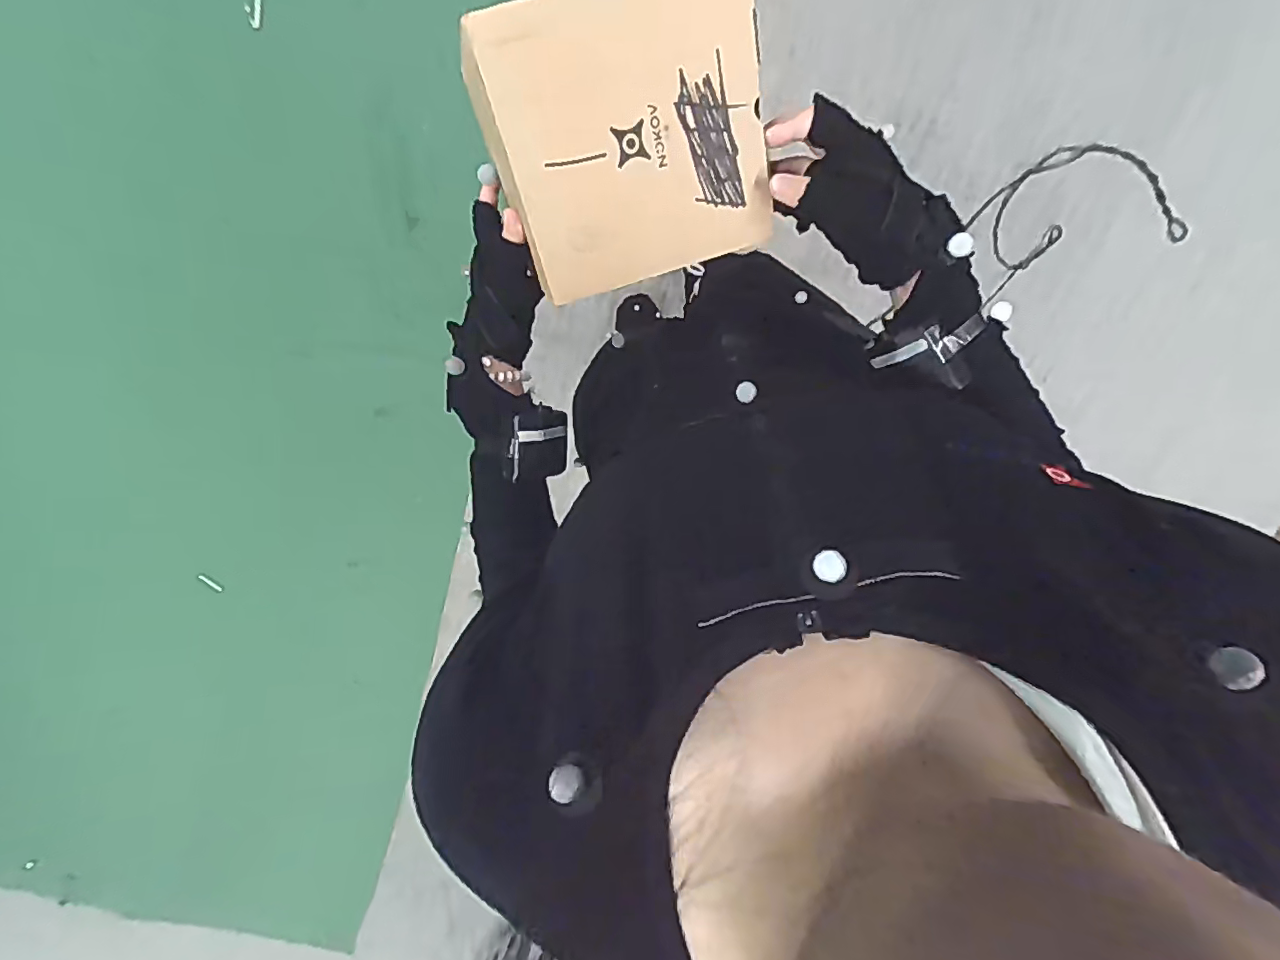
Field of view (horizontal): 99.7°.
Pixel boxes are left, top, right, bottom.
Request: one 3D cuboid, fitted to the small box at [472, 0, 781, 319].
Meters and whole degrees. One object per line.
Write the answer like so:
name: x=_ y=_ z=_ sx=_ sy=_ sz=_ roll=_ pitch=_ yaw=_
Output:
small box: x=-0.016 y=-0.244 z=0.412 sx=0.179 sy=0.176 sz=0.168 roll=-20 pitch=122 yaw=-6
